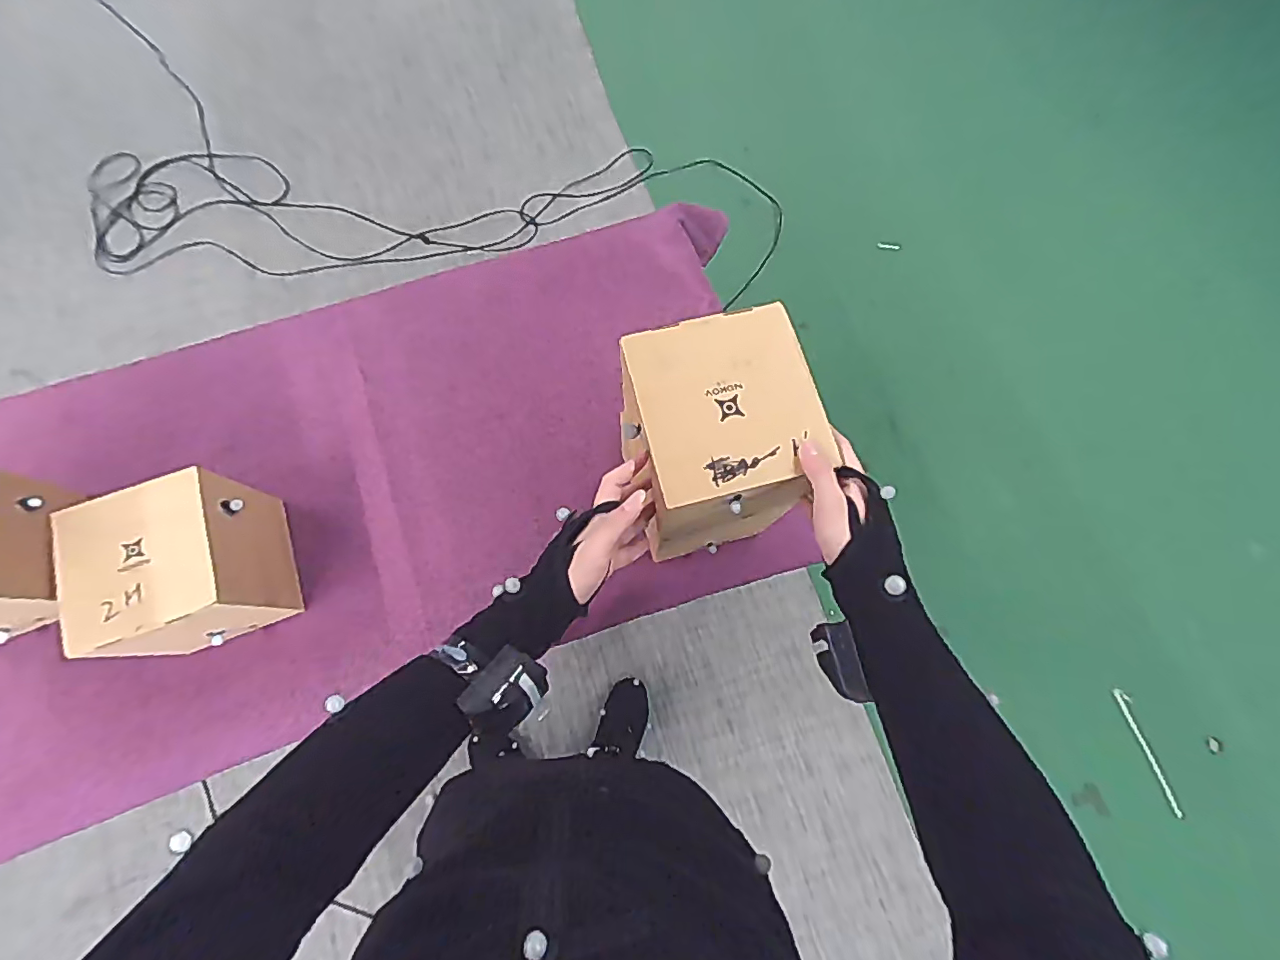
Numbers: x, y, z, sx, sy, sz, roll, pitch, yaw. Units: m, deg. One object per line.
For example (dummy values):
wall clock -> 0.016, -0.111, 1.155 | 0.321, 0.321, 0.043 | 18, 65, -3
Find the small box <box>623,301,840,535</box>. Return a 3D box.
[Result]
small box -> 0.080, -0.055, 0.574 | 0.168, 0.176, 0.179 | -14, 75, -4

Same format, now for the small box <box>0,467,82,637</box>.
small box -> -0.852, 0.096, 0.691 | 0.168, 0.176, 0.179 | -21, 77, -6

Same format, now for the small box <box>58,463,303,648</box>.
small box -> -0.572, 0.103, 0.692 | 0.168, 0.176, 0.179 | -20, 76, -6
